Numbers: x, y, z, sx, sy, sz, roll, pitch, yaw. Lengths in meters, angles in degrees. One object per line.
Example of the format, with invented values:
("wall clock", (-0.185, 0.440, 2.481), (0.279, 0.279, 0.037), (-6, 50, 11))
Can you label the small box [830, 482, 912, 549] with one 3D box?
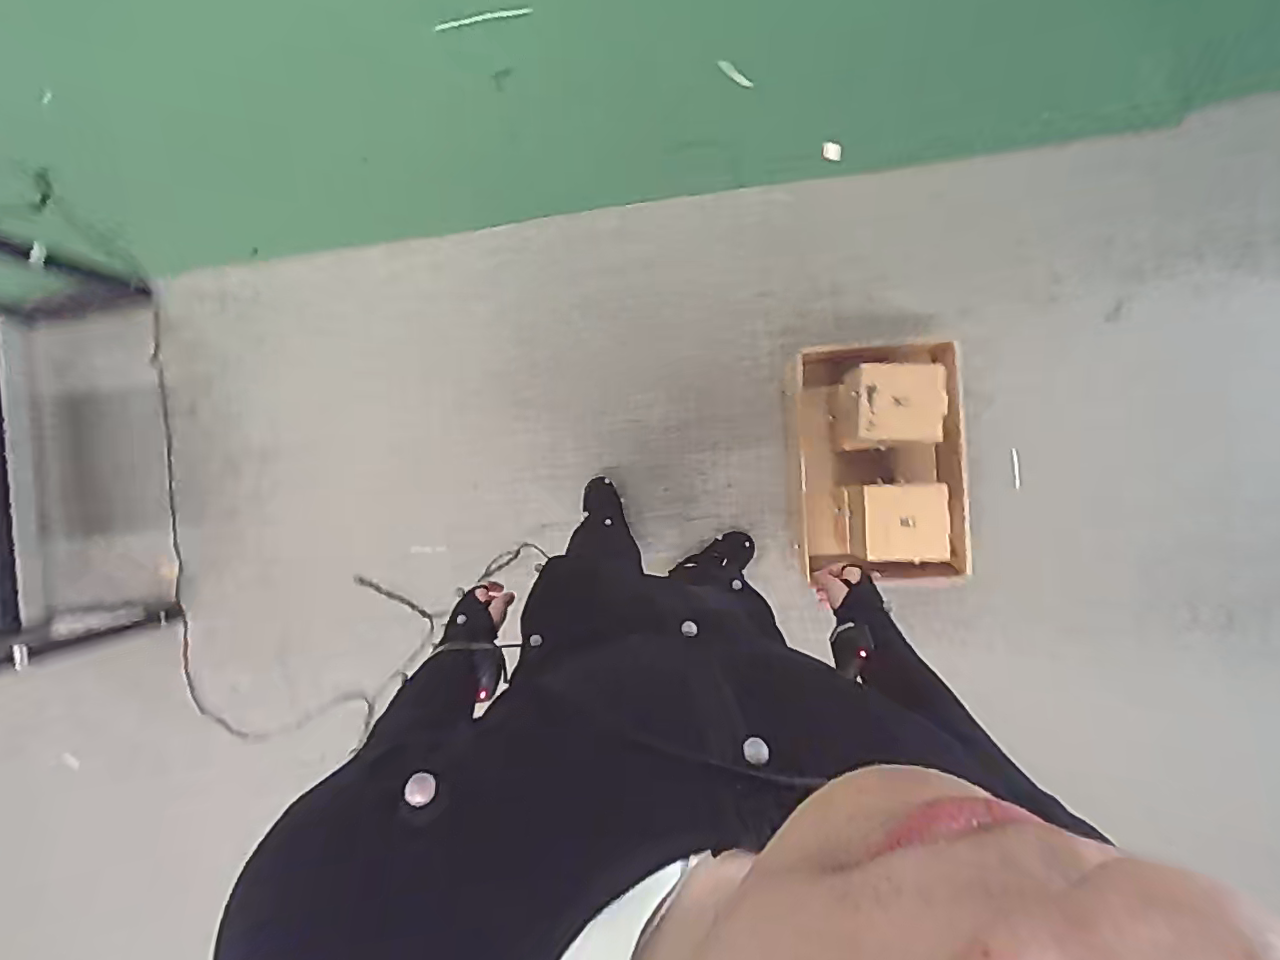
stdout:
("small box", (0.609, 0.091, 1.432), (0.179, 0.176, 0.168), (-4, 90, 7))

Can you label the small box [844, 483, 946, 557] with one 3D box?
("small box", (0.592, 0.089, 1.270), (0.179, 0.176, 0.168), (-1, 89, 8))

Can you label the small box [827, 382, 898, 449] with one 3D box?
("small box", (0.598, -0.171, 1.429), (0.179, 0.176, 0.168), (-4, 92, 7))

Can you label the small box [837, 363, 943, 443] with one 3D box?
("small box", (0.577, -0.174, 1.265), (0.179, 0.176, 0.168), (3, 91, 6))
